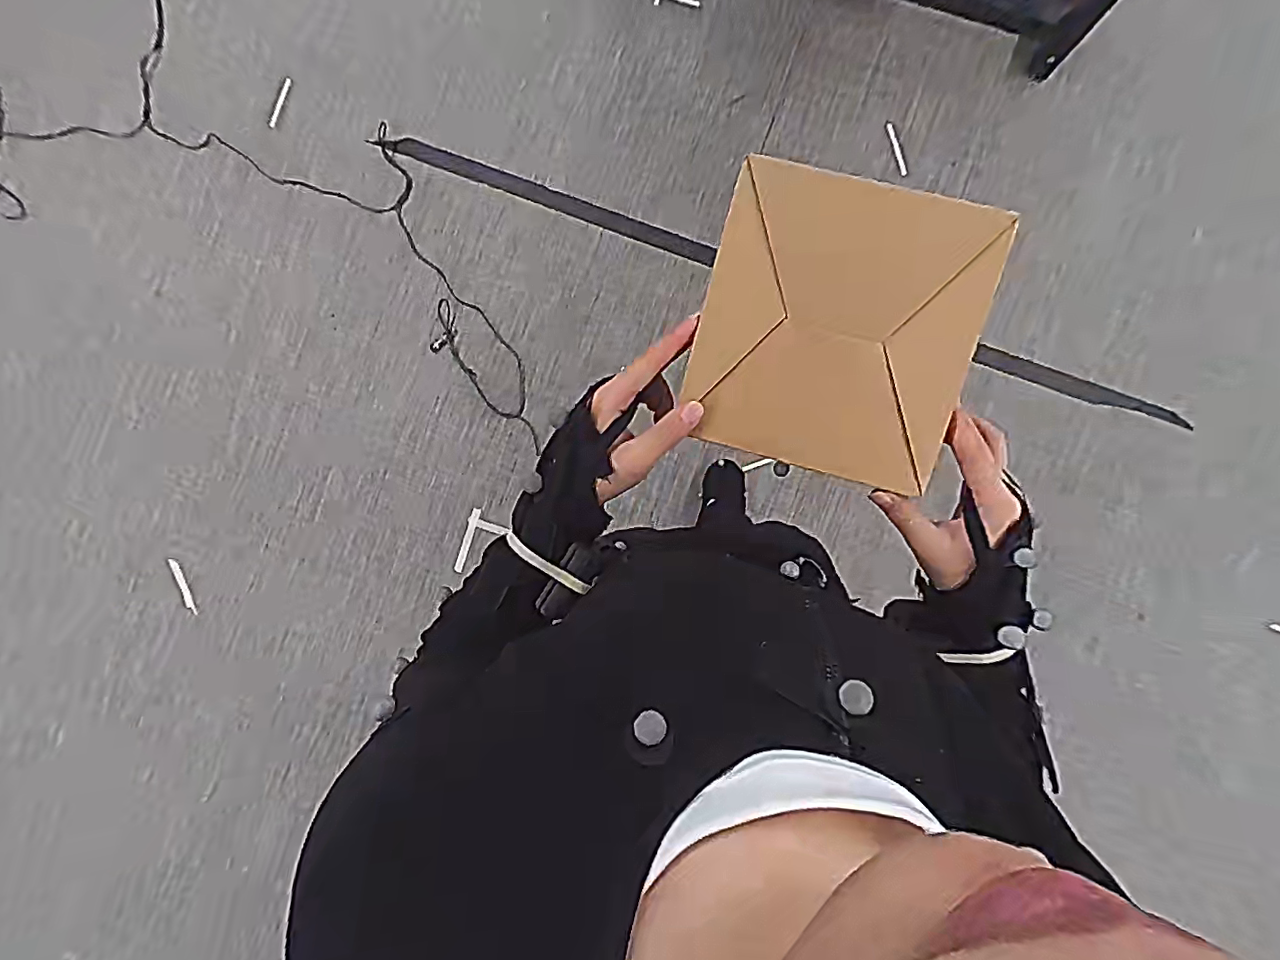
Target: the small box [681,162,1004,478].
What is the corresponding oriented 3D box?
[{"bbox_3d":[0.132,-0.105,0.417,0.168,0.176,0.179,16,99,5],"label":"small box"}]
